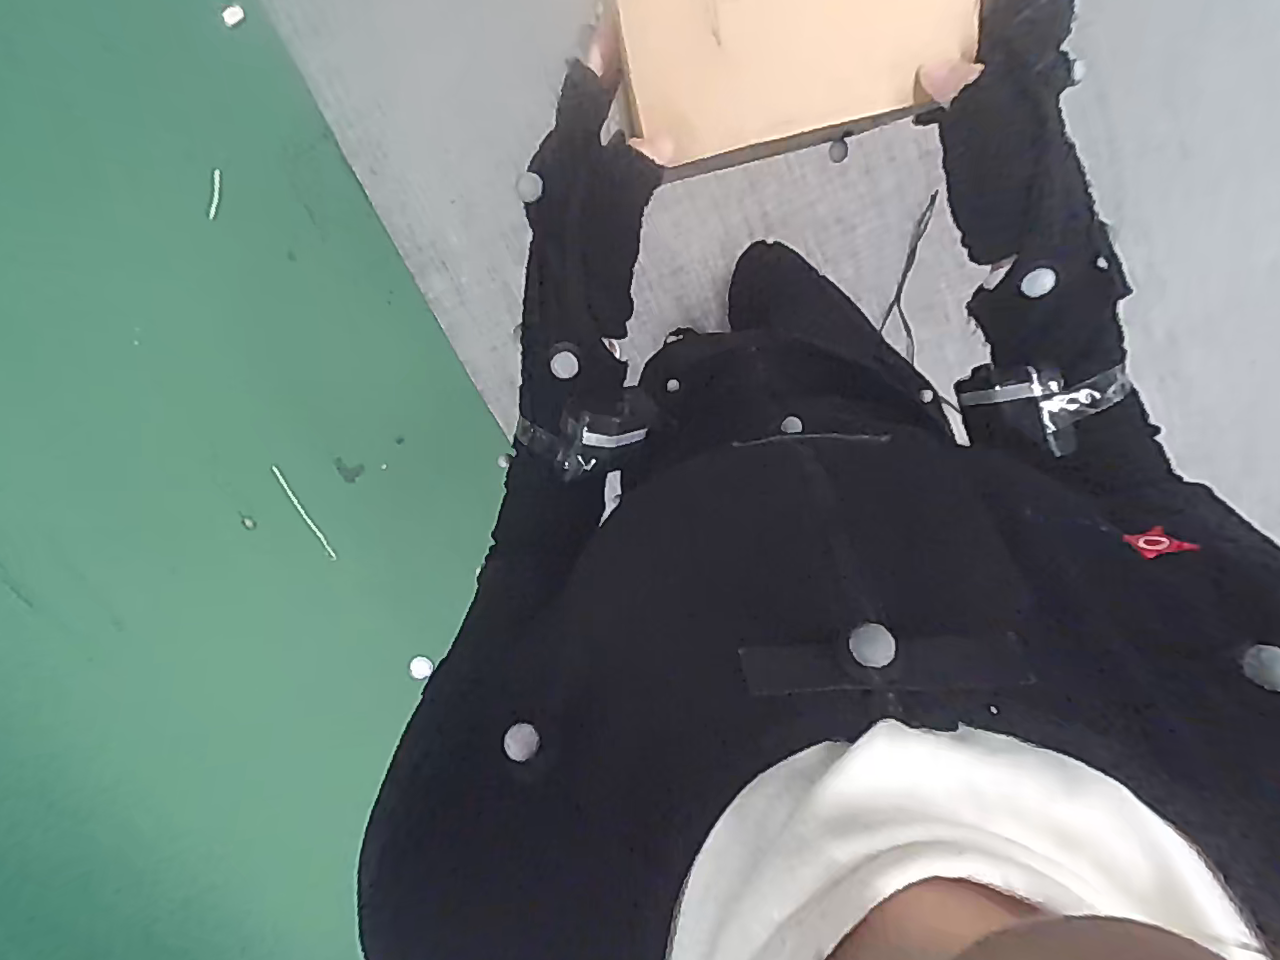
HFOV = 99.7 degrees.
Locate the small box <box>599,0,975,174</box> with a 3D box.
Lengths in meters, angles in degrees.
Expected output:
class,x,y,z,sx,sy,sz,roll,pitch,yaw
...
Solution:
class,x,y,z,sx,sy,sz,roll,pitch,yaw
small box,0.066,-0.297,0.320,0.179,0.176,0.168,-12,115,5
